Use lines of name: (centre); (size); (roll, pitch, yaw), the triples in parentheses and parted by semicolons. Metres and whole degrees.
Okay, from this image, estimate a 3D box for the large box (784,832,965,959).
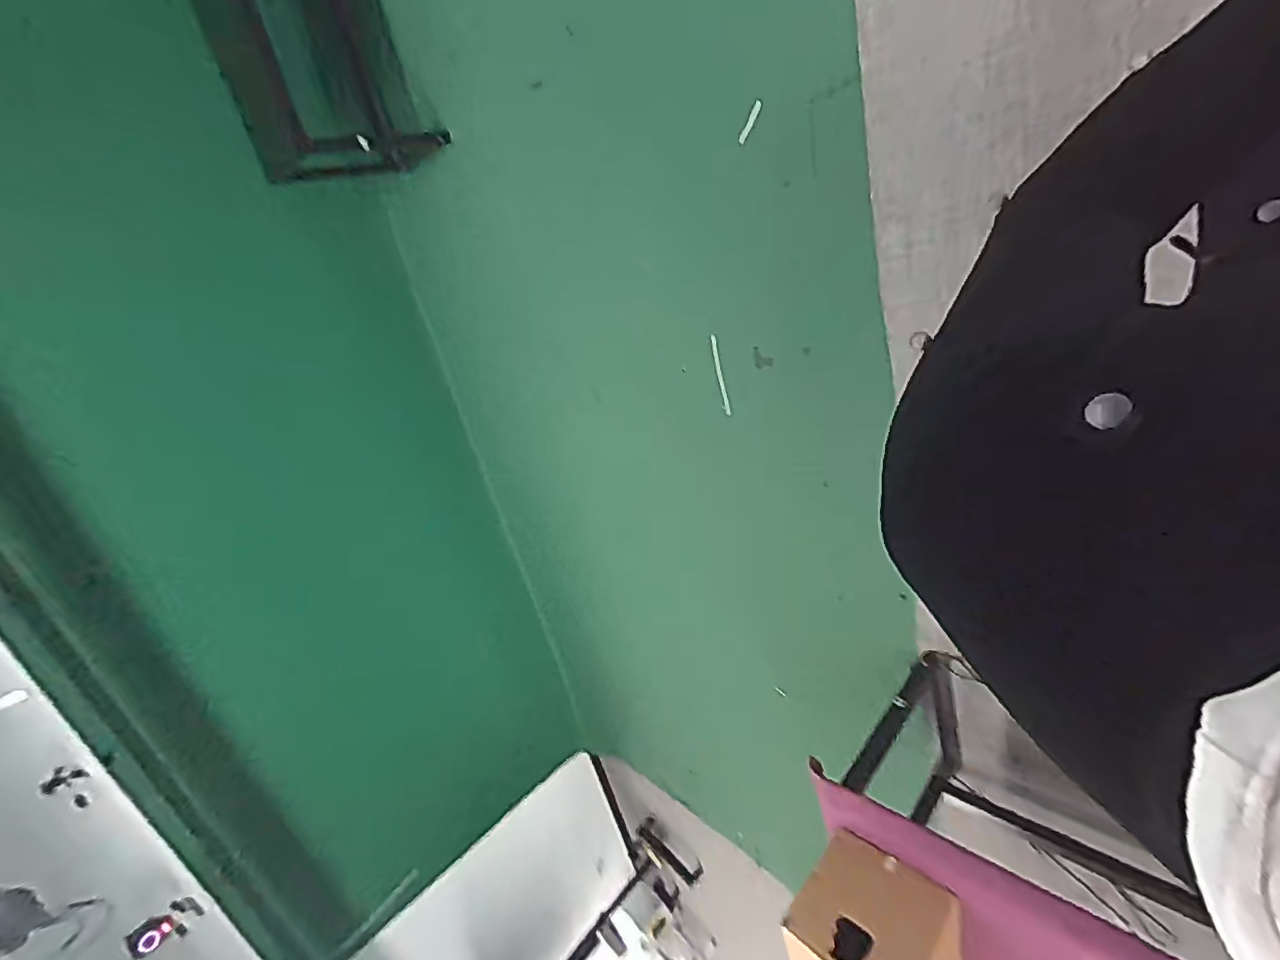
large box: (0.612, 1.235, 1.382); (0.320, 0.320, 0.408); (6, 119, 46)
